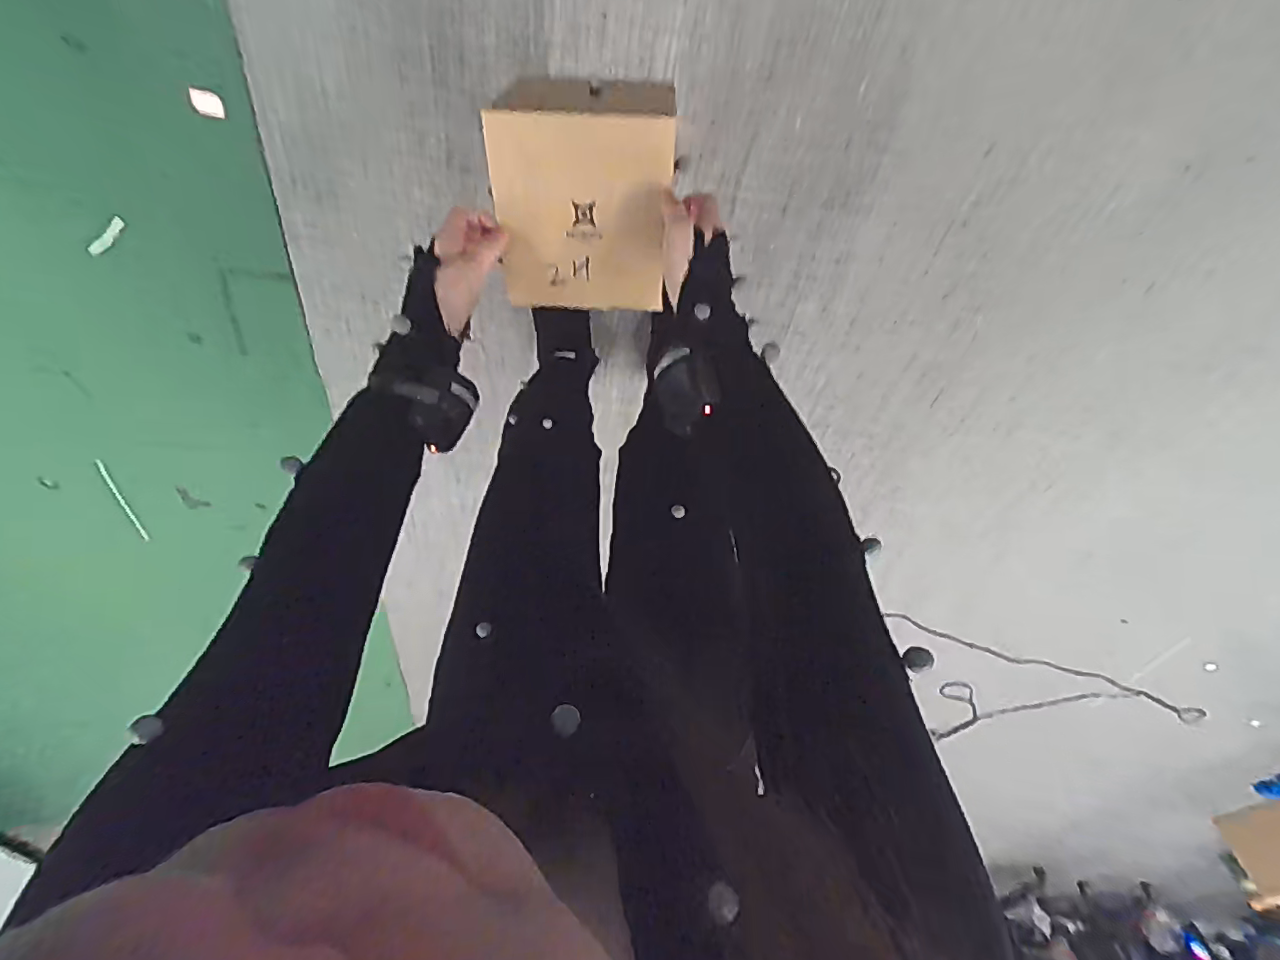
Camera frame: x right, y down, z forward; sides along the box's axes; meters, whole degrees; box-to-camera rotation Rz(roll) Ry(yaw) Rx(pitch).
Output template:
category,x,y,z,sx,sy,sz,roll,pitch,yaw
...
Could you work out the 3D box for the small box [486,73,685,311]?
category,x,y,z,sx,sy,sz,roll,pitch,yaw
small box,-0.046,-0.295,0.551,0.168,0.176,0.179,3,135,0
